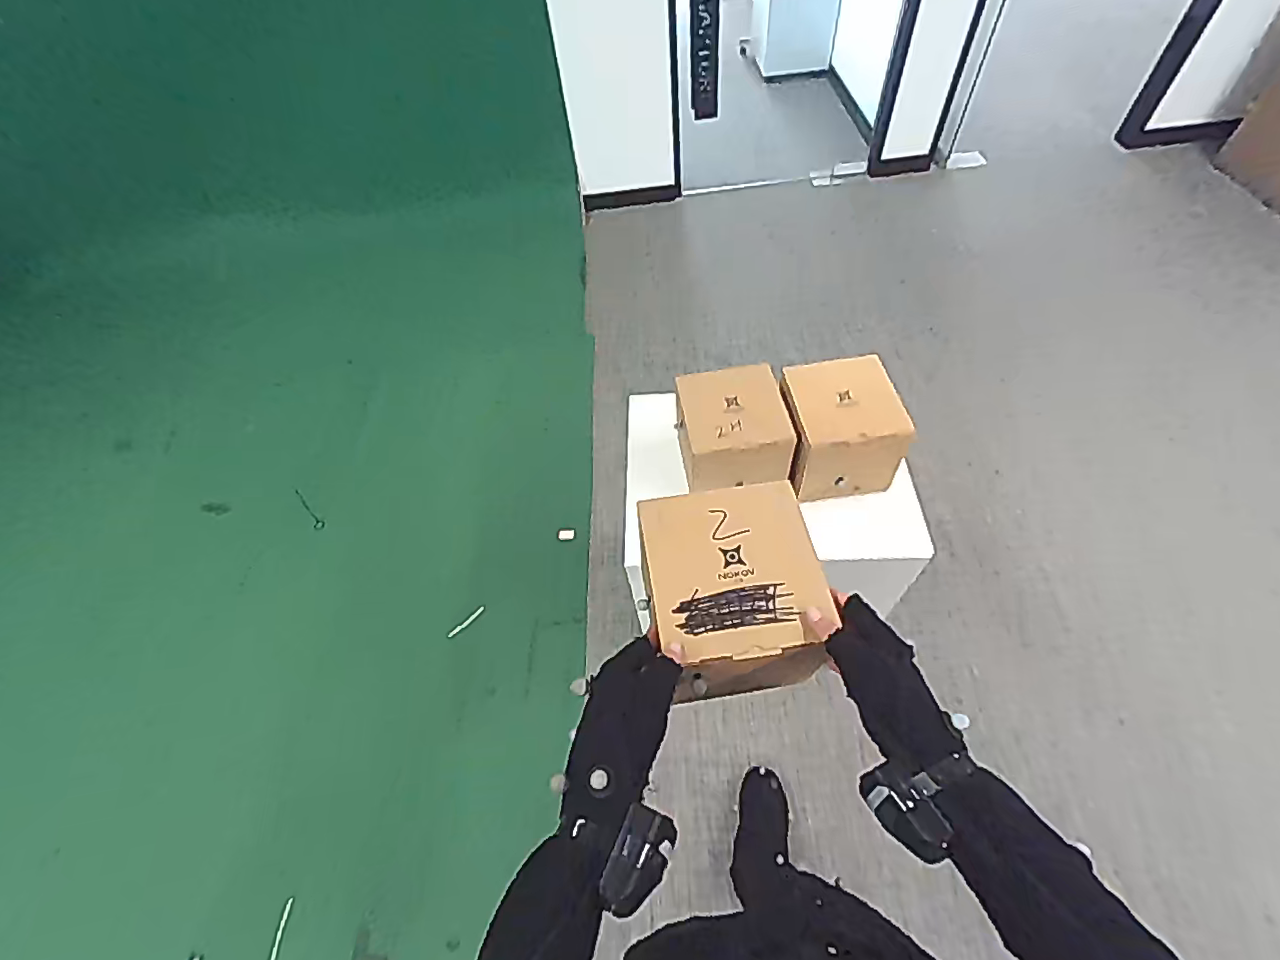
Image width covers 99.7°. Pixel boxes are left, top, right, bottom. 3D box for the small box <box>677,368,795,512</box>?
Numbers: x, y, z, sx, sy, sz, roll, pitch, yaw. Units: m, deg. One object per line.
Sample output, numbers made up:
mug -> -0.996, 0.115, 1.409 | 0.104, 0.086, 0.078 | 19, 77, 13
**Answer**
small box -> 0.159, -0.068, 0.951 | 0.168, 0.176, 0.179 | -9, 54, 1
